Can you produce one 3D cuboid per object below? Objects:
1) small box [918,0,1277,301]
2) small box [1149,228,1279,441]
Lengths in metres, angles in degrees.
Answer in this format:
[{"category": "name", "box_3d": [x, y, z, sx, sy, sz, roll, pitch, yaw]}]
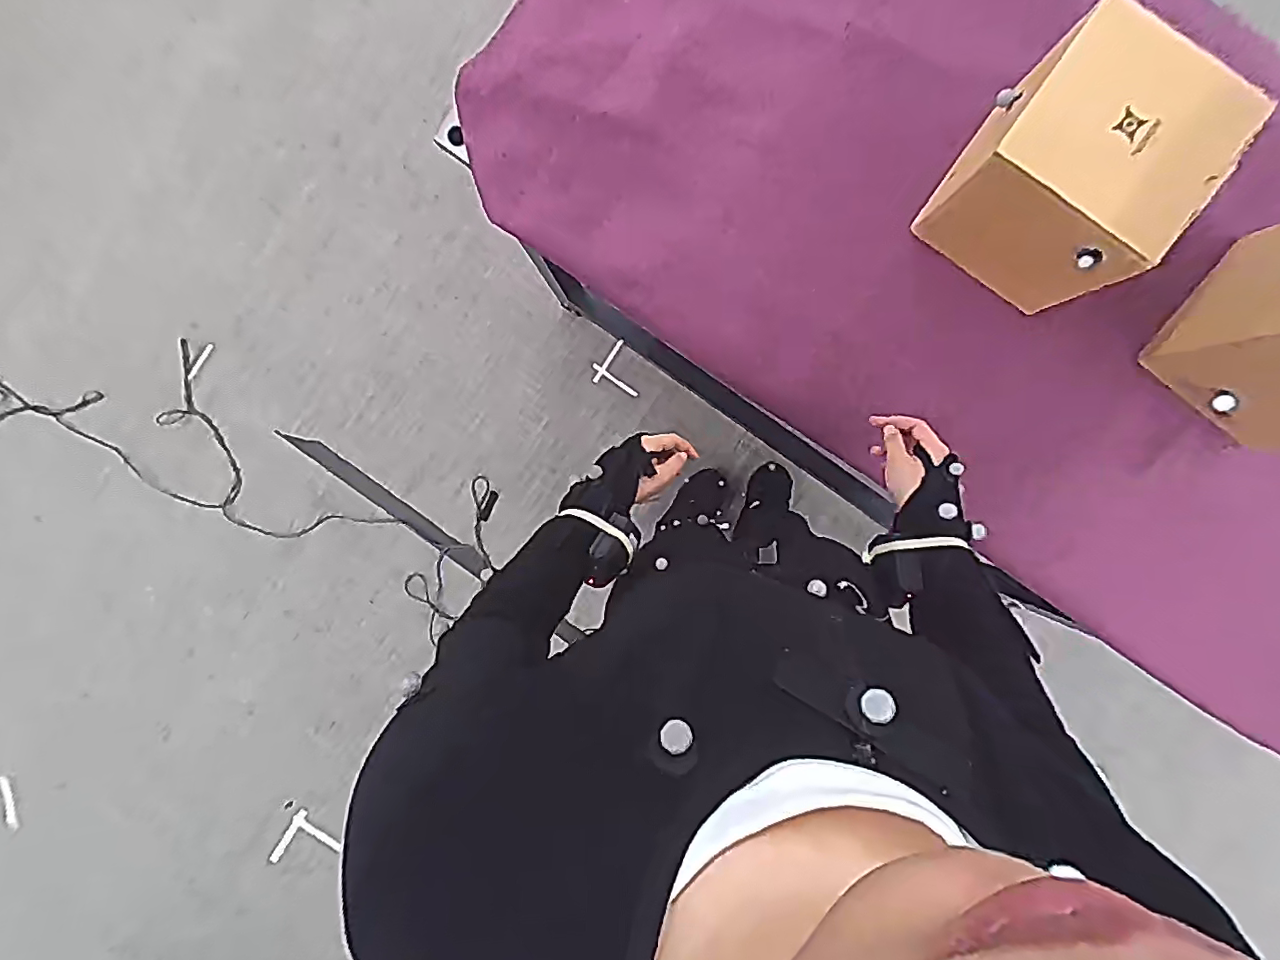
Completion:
[{"category": "small box", "box_3d": [0.424, -0.307, 0.540, 0.179, 0.176, 0.168, 35, 93, -1]}, {"category": "small box", "box_3d": [0.686, -0.154, 0.537, 0.168, 0.176, 0.179, 39, 94, 0]}]
